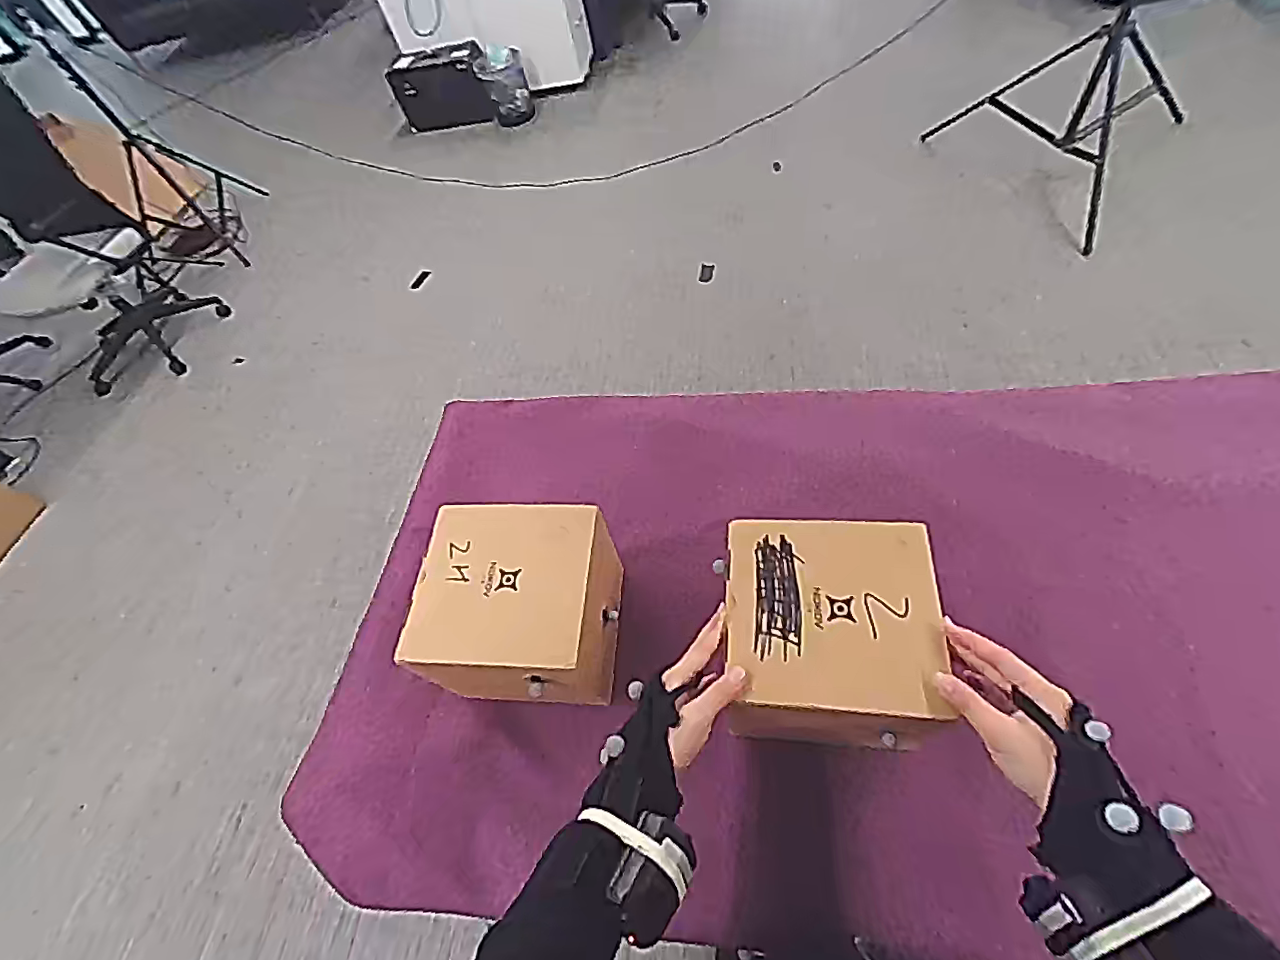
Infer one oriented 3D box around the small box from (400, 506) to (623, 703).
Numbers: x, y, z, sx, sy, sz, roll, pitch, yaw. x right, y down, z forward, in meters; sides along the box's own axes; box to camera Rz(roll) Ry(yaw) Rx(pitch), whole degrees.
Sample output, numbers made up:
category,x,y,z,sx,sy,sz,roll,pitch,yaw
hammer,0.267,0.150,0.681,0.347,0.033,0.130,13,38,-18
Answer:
category,x,y,z,sx,sy,sz,roll,pitch,yaw
small box,-0.120,0.141,0.594,0.179,0.176,0.168,0,57,9
